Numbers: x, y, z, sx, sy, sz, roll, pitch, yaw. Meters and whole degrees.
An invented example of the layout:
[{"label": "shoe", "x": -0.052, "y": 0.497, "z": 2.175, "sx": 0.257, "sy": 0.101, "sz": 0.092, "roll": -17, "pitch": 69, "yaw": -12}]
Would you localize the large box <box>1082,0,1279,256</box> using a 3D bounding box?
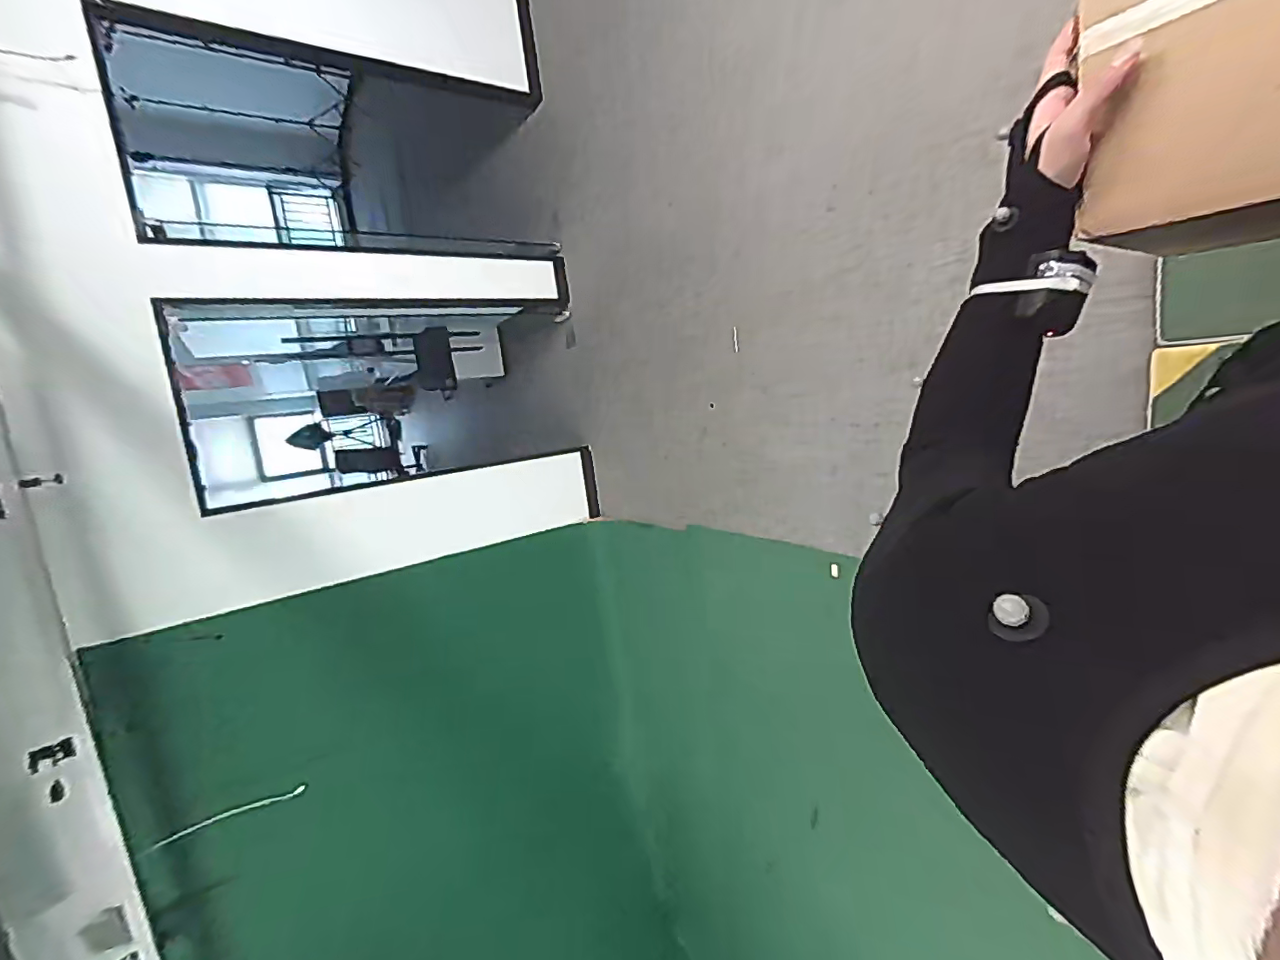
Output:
[{"label": "large box", "x": 0.618, "y": -0.383, "z": 0.396, "sx": 0.408, "sy": 0.320, "sz": 0.320, "roll": 6, "pitch": 106, "yaw": 53}]
